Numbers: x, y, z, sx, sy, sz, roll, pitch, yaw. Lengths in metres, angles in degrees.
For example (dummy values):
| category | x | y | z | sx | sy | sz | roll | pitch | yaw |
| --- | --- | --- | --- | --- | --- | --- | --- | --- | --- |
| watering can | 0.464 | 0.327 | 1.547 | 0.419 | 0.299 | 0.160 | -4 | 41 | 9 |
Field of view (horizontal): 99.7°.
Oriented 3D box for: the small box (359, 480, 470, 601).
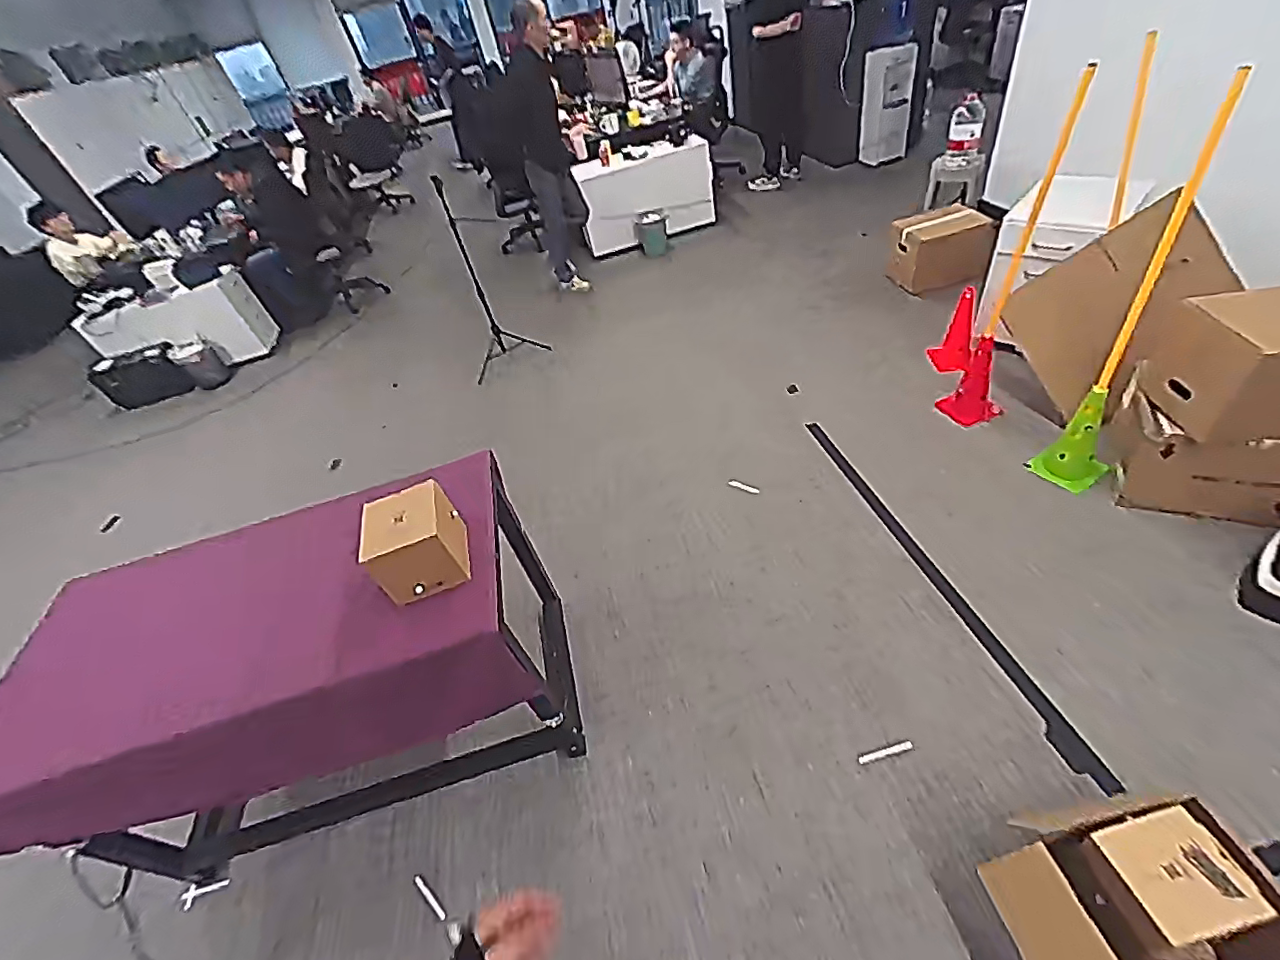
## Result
| category | x | y | z | sx | sy | sz | roll | pitch | yaw |
| --- | --- | --- | --- | --- | --- | --- | --- | --- | --- |
| small box | -0.491 | 0.135 | 1.200 | 0.168 | 0.176 | 0.179 | -20 | 43 | -4 |
